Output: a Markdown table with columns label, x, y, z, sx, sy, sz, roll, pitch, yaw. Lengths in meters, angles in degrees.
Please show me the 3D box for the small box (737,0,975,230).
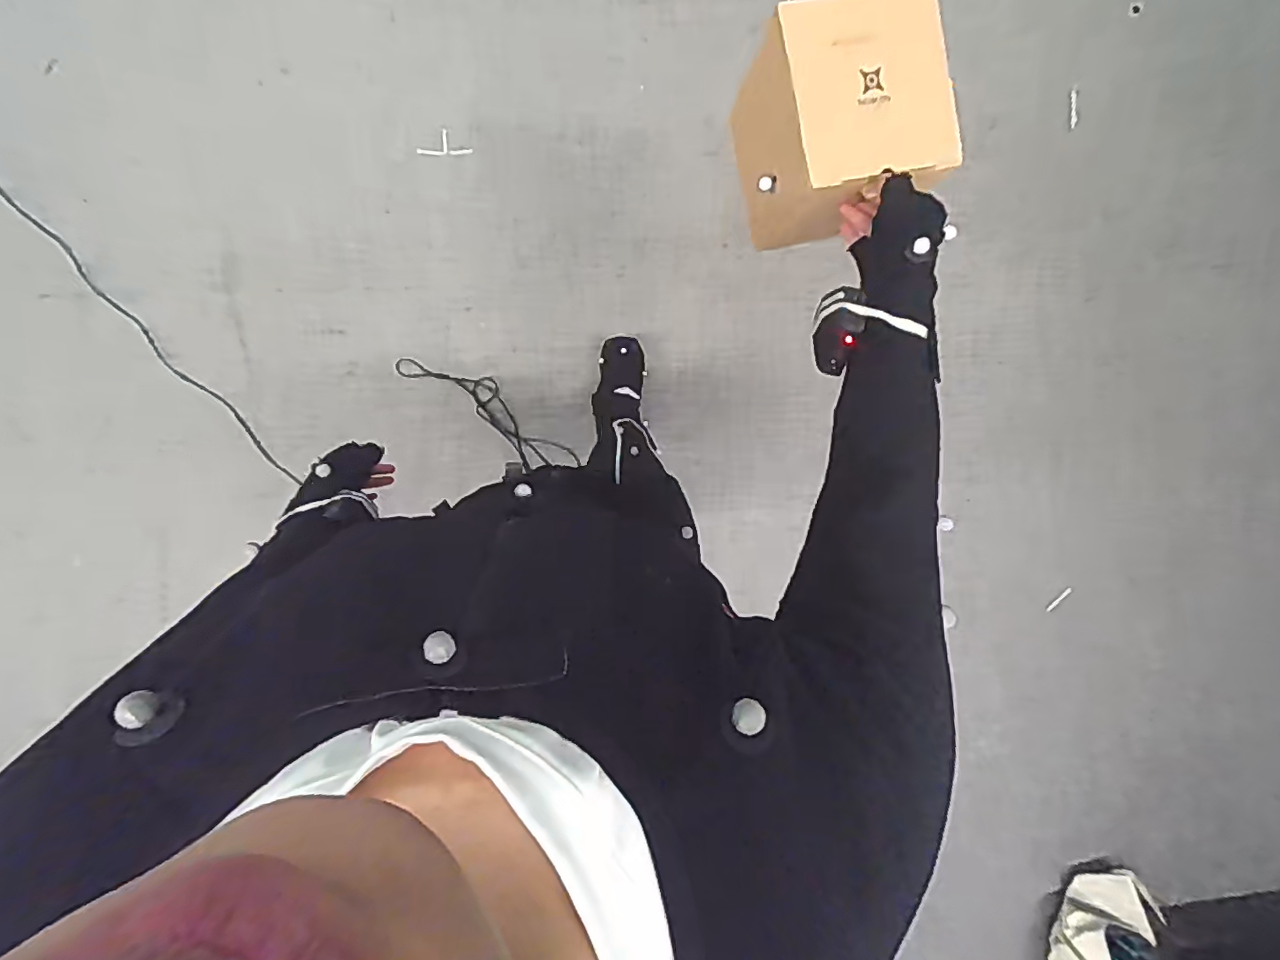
| label | x | y | z | sx | sy | sz | roll | pitch | yaw |
| --- | --- | --- | --- | --- | --- | --- | --- | --- | --- |
| small box | 0.218 | -0.392 | 0.585 | 0.168 | 0.176 | 0.179 | -13 | 94 | -6 |
